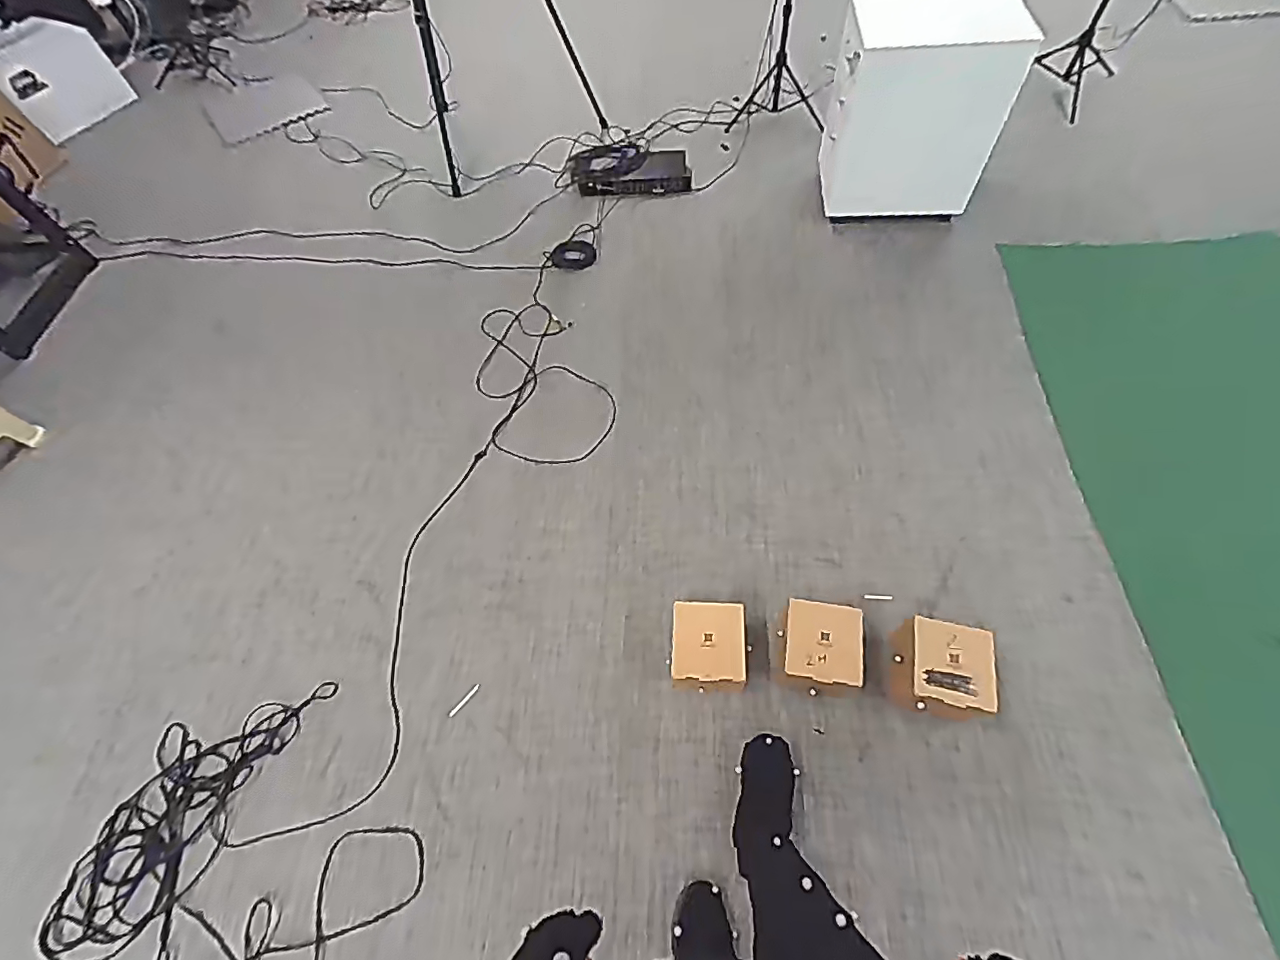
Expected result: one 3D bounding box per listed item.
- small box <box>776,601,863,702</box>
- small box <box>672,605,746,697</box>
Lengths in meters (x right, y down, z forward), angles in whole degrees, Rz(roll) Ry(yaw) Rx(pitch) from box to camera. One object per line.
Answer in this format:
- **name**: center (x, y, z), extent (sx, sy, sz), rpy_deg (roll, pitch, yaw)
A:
- **small box**: center (0.419, 0.407, 1.276), extent (0.168, 0.176, 0.179), rpy_deg (7, 61, 10)
- **small box**: center (0.163, 0.413, 1.299), extent (0.168, 0.176, 0.179), rpy_deg (1, 60, 6)
